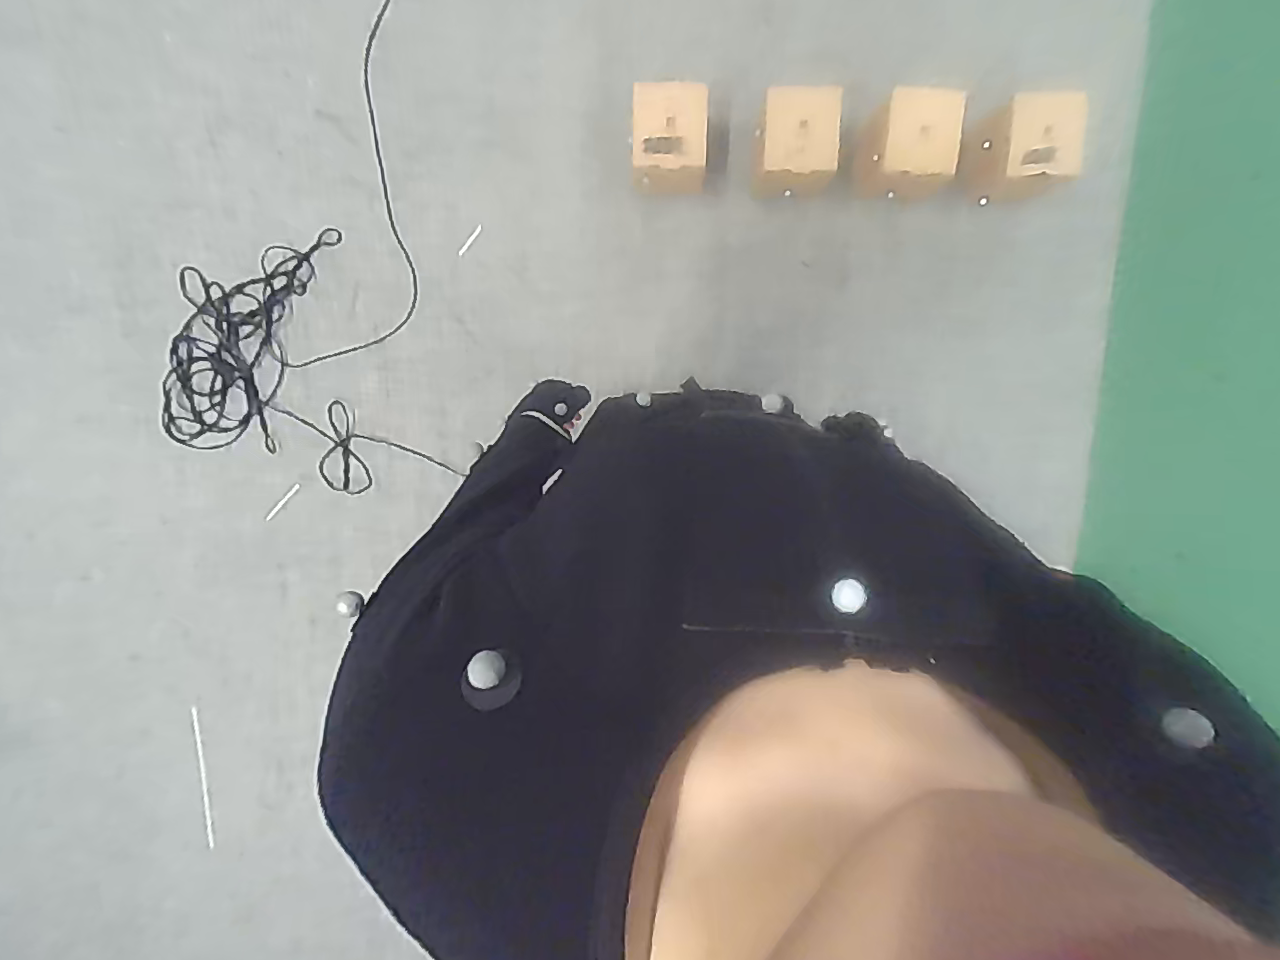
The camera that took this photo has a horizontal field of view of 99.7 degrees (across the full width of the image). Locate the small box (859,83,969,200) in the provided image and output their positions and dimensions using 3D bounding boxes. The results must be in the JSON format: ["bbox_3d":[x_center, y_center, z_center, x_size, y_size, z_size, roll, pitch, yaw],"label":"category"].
[{"bbox_3d":[0.632,-0.785,1.268,0.168,0.176,0.179,3,99,0],"label":"small box"}]

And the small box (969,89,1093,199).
[{"bbox_3d":[0.901,-0.775,1.264,0.168,0.176,0.179,0,99,1],"label":"small box"}]

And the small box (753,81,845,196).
[{"bbox_3d":[0.364,-0.793,1.267,0.168,0.176,0.179,2,99,2],"label":"small box"}]
